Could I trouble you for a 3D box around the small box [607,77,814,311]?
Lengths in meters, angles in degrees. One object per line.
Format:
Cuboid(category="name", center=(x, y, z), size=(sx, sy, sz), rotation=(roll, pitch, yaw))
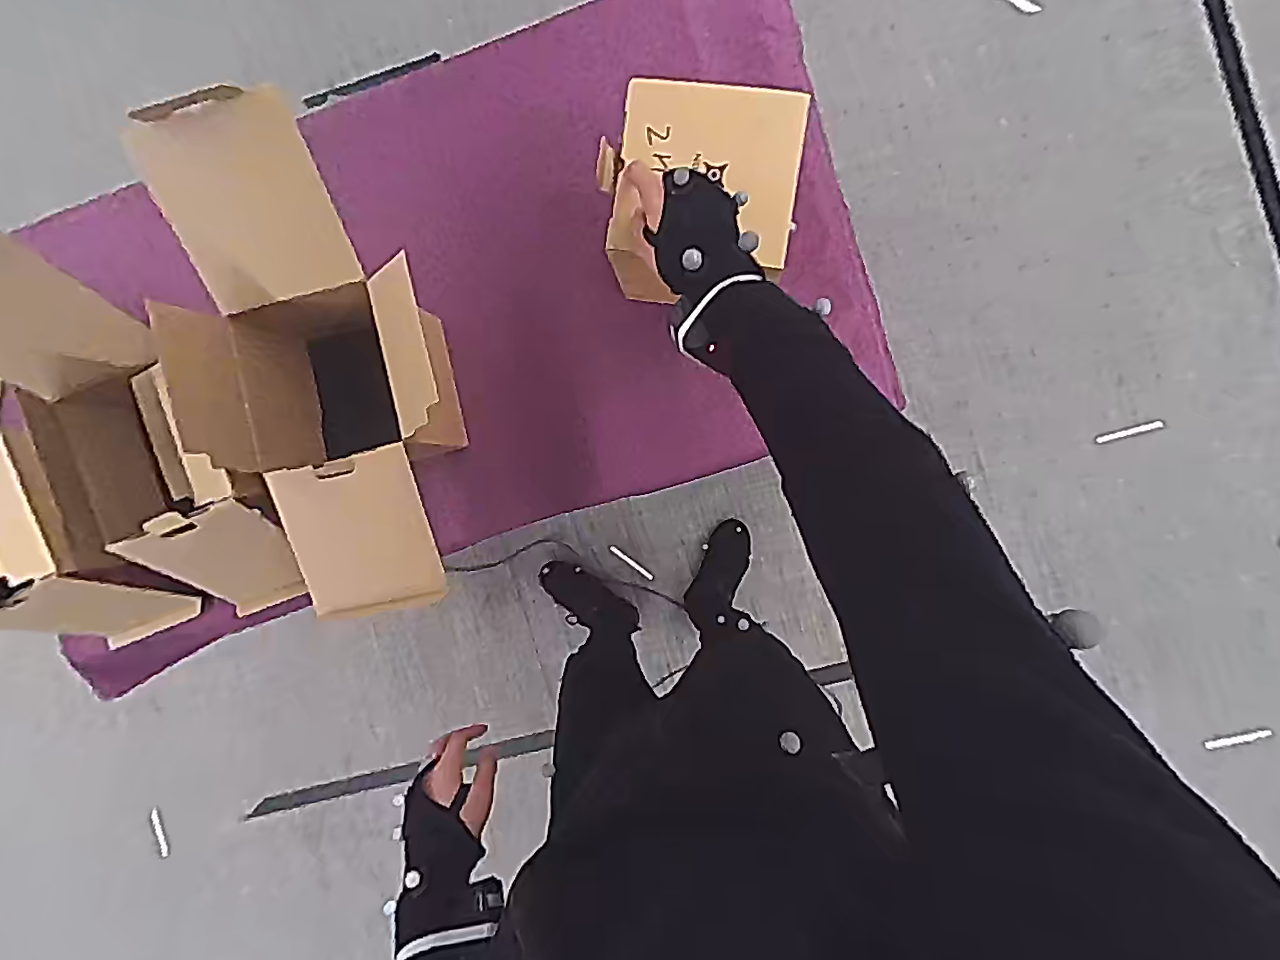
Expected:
Cuboid(category="small box", center=(0.073, -0.296, 0.597), size=(0.179, 0.176, 0.168), rotation=(10, 93, 5))
